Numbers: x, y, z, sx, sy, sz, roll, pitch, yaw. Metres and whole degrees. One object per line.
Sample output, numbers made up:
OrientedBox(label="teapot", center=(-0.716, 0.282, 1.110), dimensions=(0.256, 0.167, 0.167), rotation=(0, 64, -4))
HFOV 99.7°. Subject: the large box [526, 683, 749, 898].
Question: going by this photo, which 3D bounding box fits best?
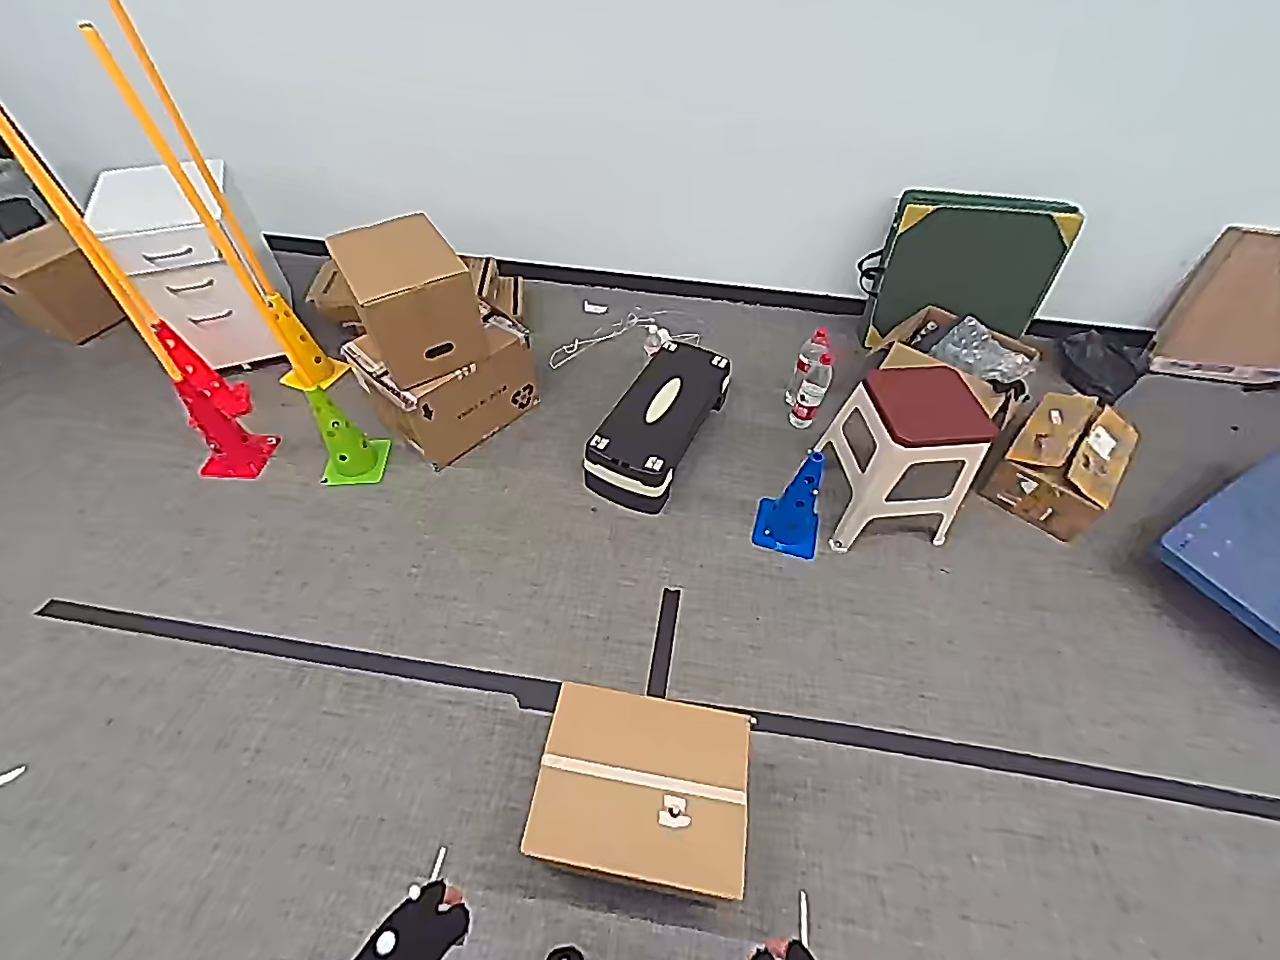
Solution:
OrientedBox(label="large box", center=(0.001, 0.674, 1.170), dimensions=(0.408, 0.320, 0.320), rotation=(10, 52, 4))
